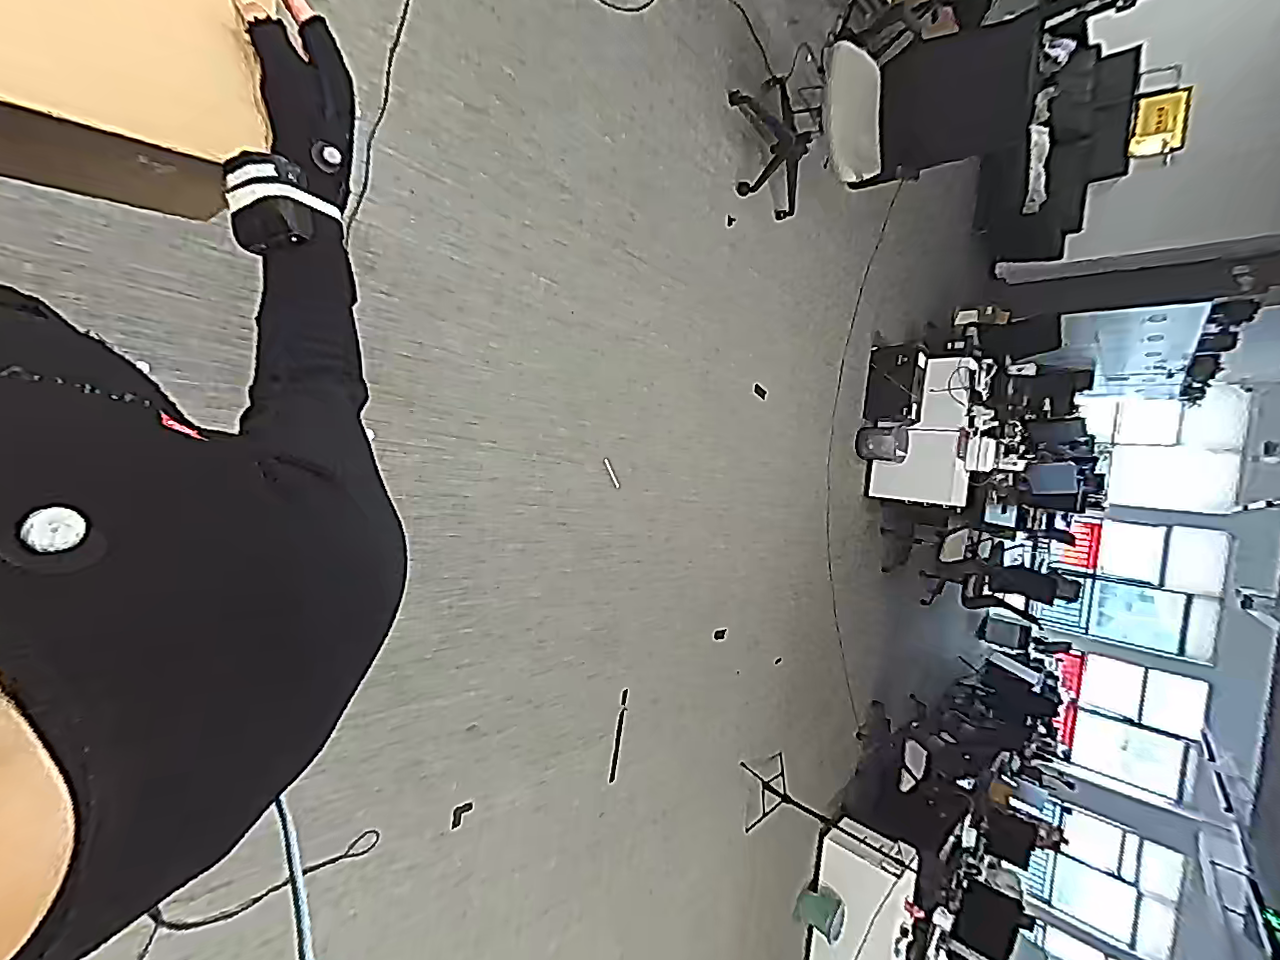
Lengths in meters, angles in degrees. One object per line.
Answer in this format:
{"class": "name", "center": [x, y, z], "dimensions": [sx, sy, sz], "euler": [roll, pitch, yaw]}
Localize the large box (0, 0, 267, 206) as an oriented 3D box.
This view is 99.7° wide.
{"class": "large box", "center": [-0.547, -0.430, 0.382], "dimensions": [0.408, 0.320, 0.320], "euler": [-6, 107, -47]}
